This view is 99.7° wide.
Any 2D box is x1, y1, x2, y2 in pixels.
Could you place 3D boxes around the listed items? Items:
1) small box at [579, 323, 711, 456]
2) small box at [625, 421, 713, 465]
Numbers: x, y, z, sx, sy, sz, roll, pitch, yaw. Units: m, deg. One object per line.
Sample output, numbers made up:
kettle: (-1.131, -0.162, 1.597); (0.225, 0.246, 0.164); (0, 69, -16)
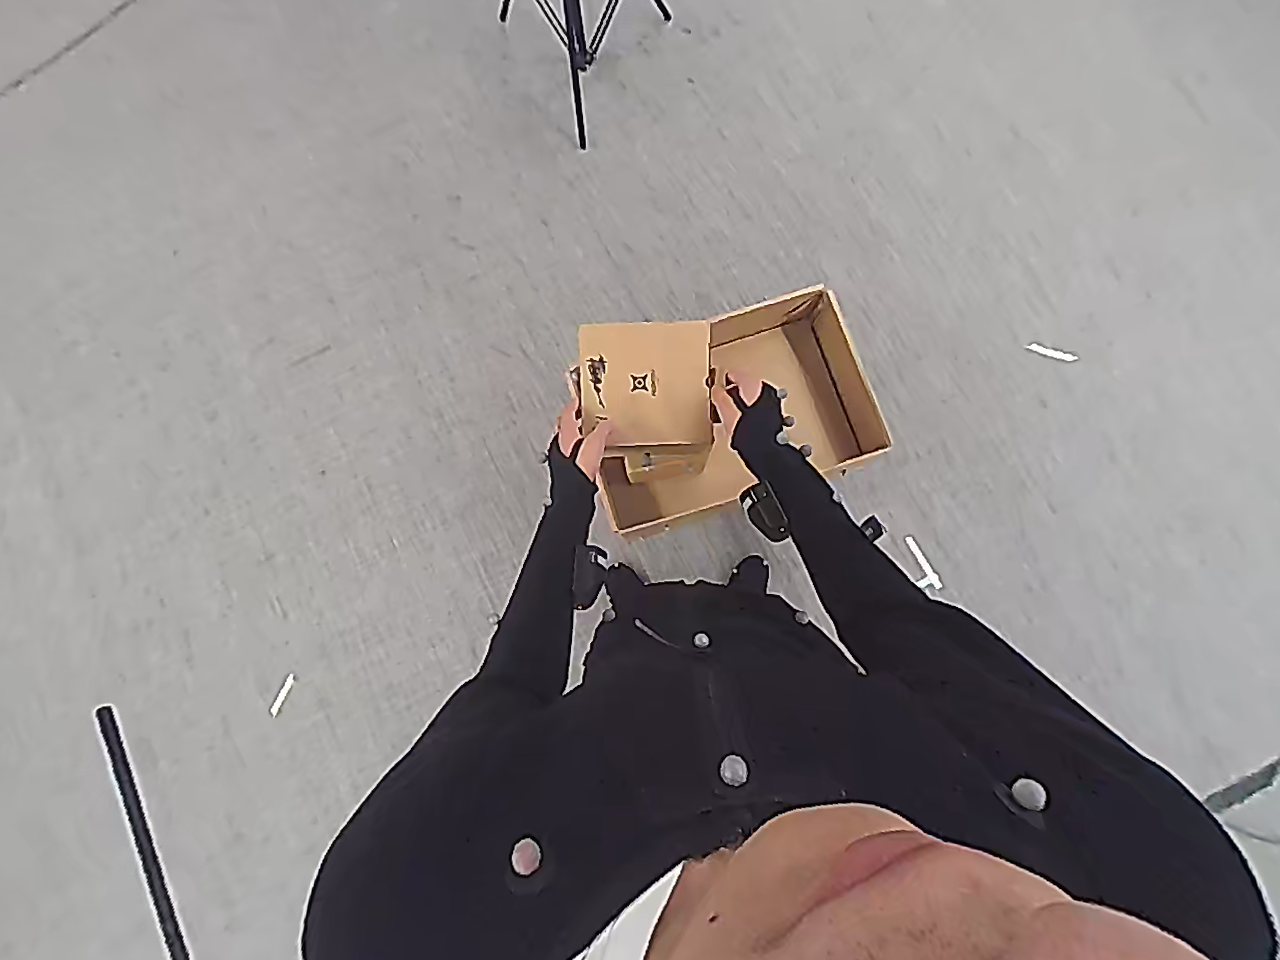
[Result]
small box: (0.004, -0.124, 0.793); (0.179, 0.176, 0.168); (-1, 88, -1)
small box: (0.041, -0.133, 1.044); (0.168, 0.176, 0.179); (-10, 80, 1)
